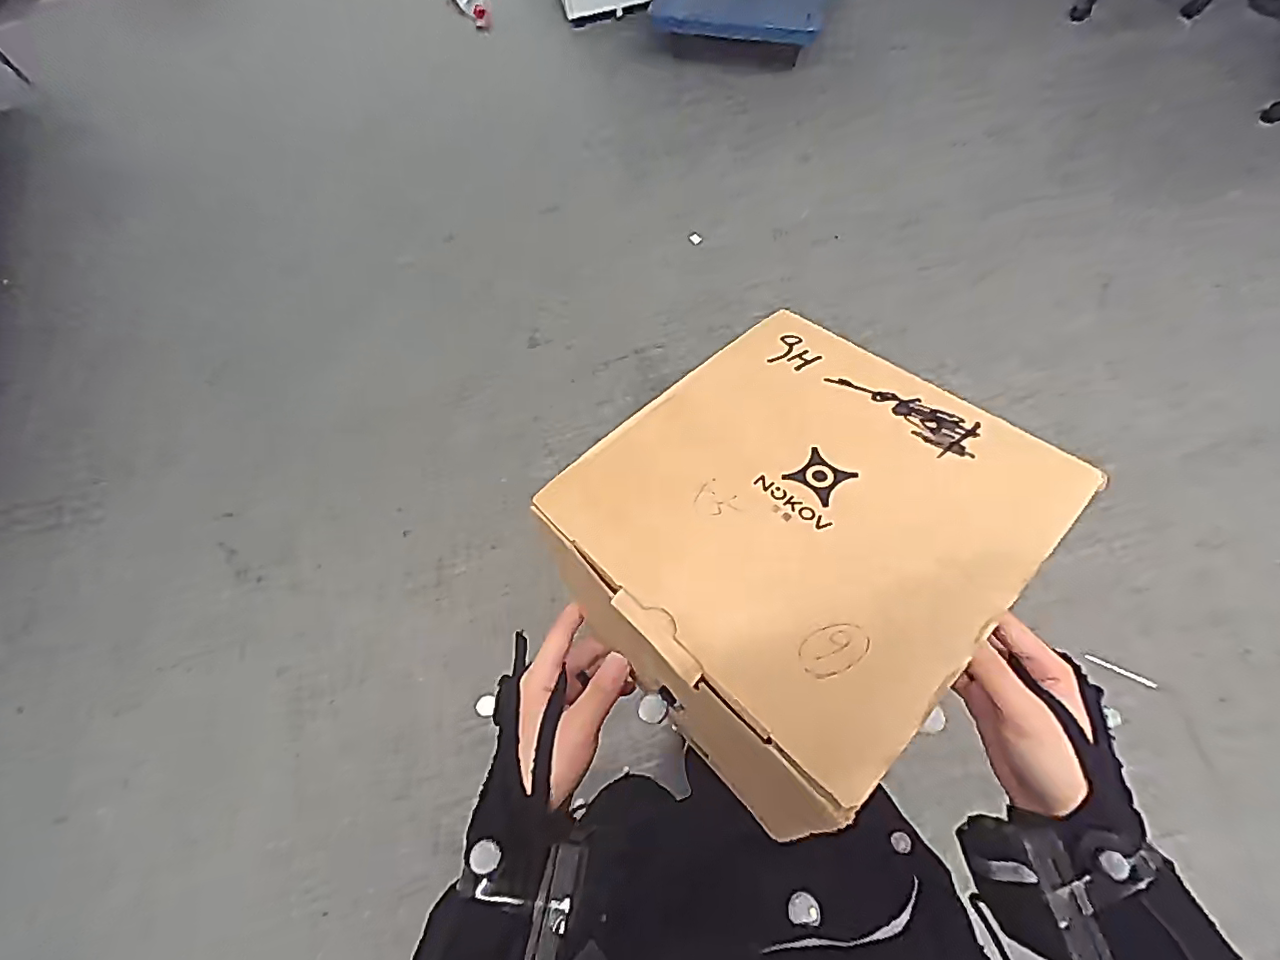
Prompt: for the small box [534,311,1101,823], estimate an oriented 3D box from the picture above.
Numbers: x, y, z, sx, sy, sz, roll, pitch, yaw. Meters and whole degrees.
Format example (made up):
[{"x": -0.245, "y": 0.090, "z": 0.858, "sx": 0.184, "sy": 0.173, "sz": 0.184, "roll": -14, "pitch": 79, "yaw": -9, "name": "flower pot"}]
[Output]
[{"x": 0.078, "y": 0.051, "z": 0.291, "sx": 0.179, "sy": 0.176, "sz": 0.168, "roll": -39, "pitch": 59, "yaw": -18, "name": "small box"}]
